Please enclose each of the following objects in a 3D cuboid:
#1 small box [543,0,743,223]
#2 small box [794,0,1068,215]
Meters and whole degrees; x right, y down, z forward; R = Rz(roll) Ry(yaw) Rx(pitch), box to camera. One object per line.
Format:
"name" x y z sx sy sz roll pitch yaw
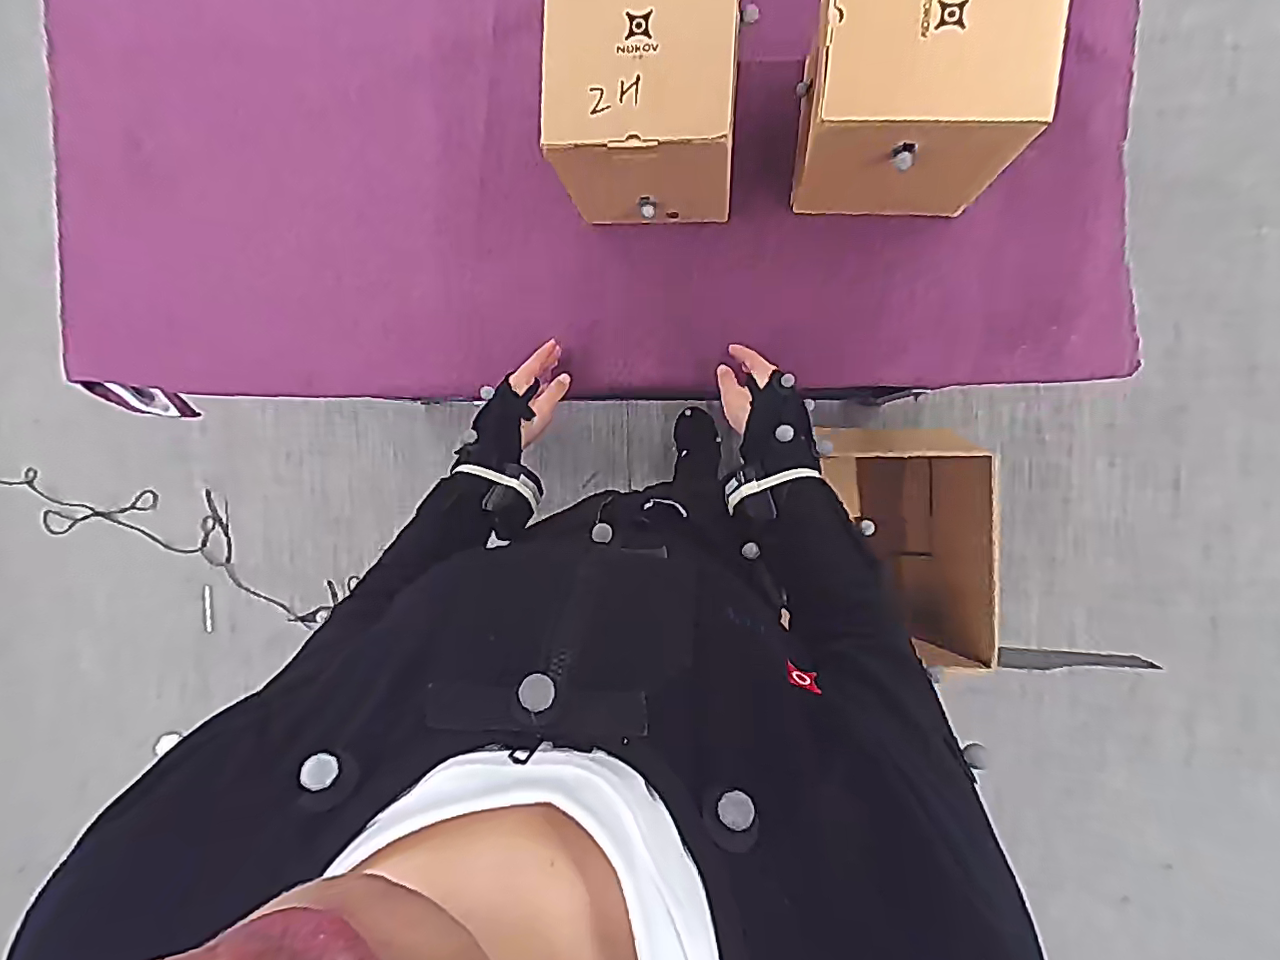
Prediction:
"small box" 0.012 -0.378 0.534 0.168 0.176 0.179 4 94 9
"small box" 0.251 -0.366 0.502 0.179 0.176 0.168 6 93 8
